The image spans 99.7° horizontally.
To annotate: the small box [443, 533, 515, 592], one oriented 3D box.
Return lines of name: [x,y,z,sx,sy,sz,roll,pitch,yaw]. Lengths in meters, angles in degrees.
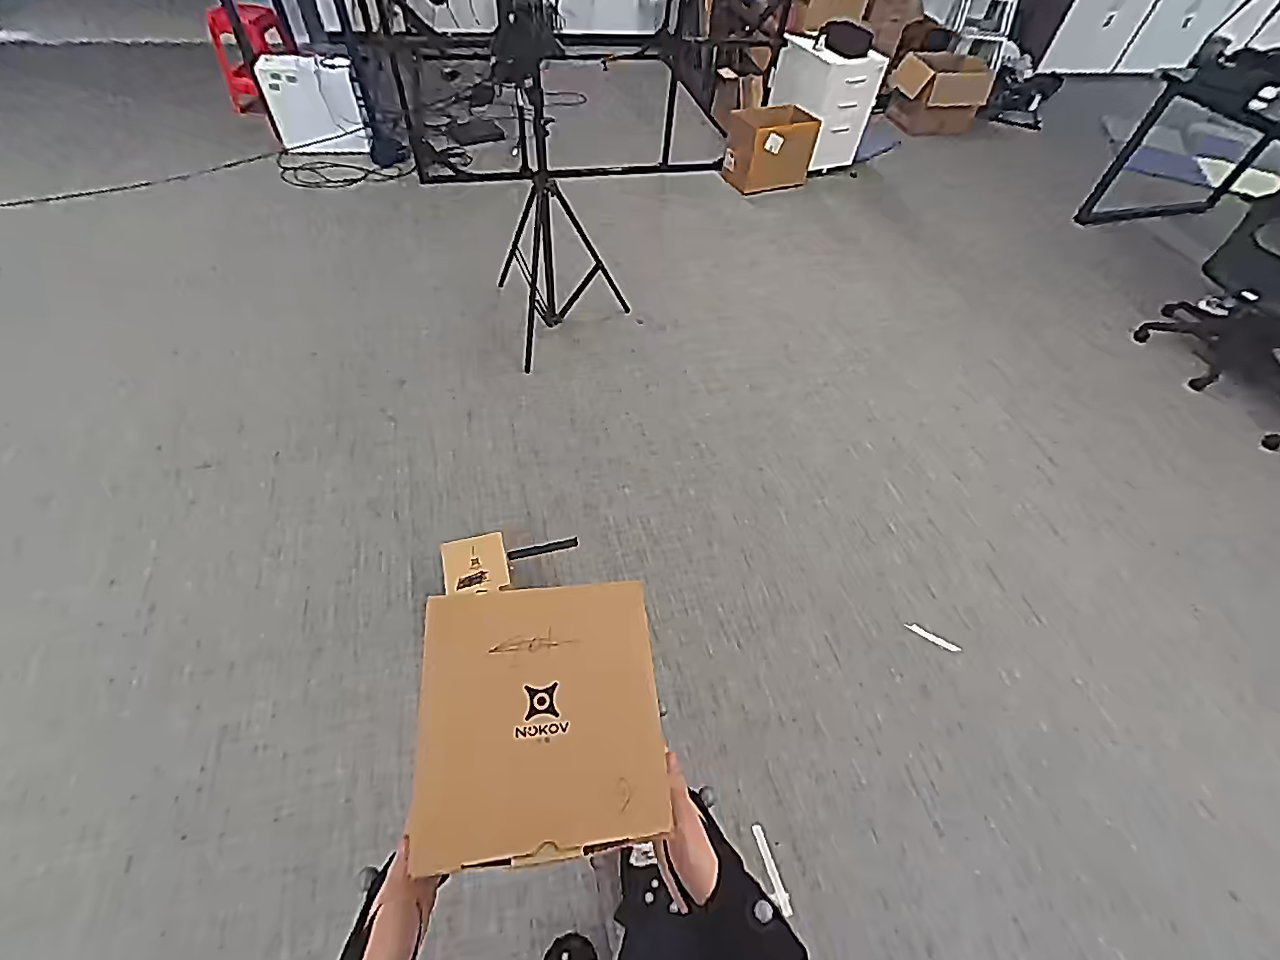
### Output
small box: [-0.443,0.278,1.511,0.168,0.176,0.179,-12,54,-13]

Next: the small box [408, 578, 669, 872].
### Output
small box: [-0.082,0.198,0.446,0.168,0.176,0.179,-3,58,-12]
